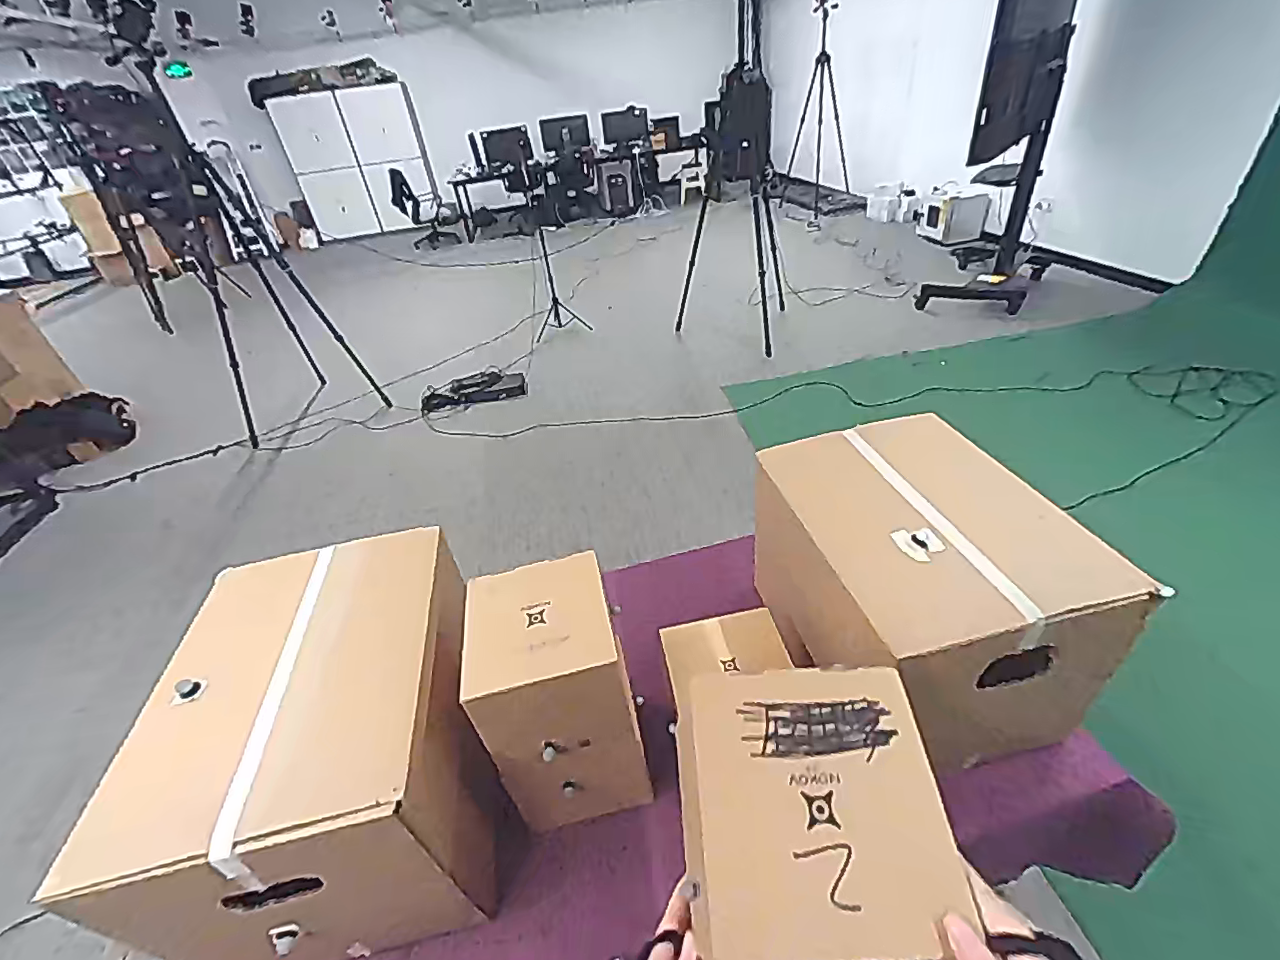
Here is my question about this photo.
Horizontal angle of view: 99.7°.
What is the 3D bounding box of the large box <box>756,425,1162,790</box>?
[{"bbox_3d":[0.395,0.166,0.817,0.320,0.320,0.408,-12,37,-5],"label":"large box"}]
